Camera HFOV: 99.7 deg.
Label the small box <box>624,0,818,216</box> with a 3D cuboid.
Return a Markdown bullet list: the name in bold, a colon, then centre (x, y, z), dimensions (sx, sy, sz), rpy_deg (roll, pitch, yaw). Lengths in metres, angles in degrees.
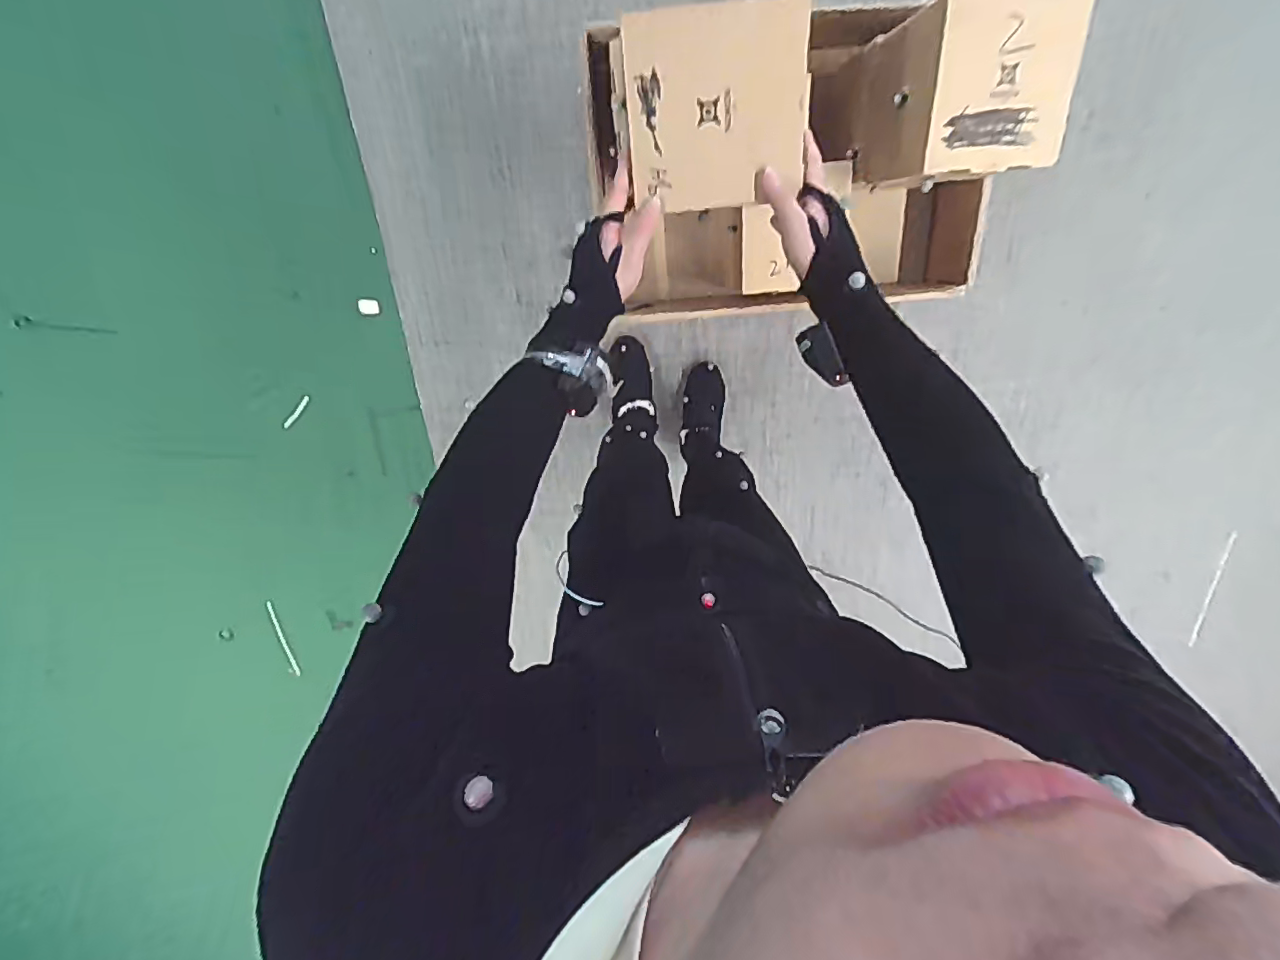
- **small box**: centre (0.077, -0.385, 0.588), dimensions (0.179, 0.176, 0.168), rpy_deg (-5, 115, 1)
